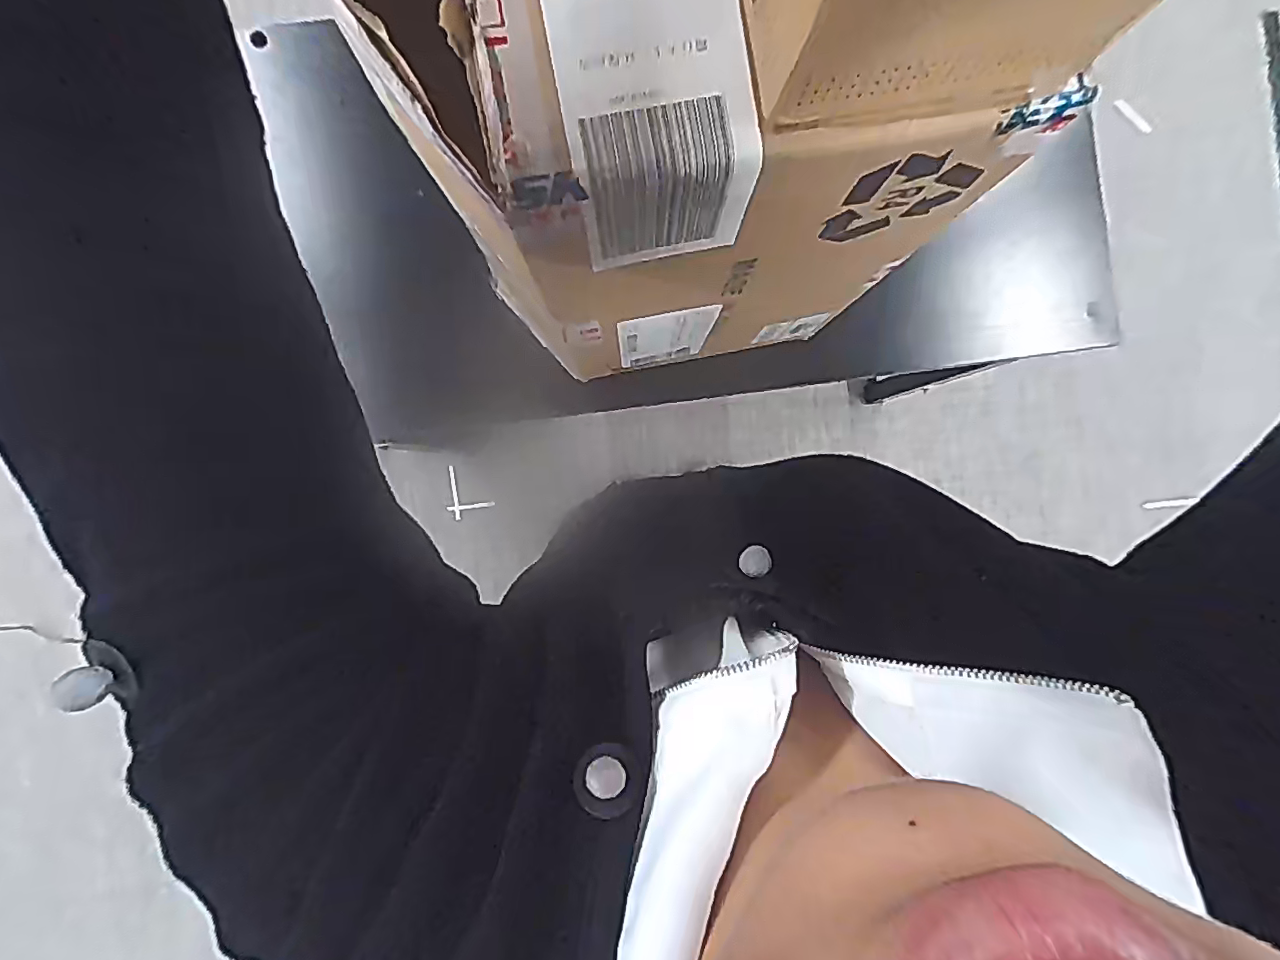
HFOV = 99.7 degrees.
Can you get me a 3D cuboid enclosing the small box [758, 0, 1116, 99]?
[{"bbox_3d":[0.140,-0.290,0.211,0.179,0.176,0.168,-11,93,-1],"label":"small box"}]
